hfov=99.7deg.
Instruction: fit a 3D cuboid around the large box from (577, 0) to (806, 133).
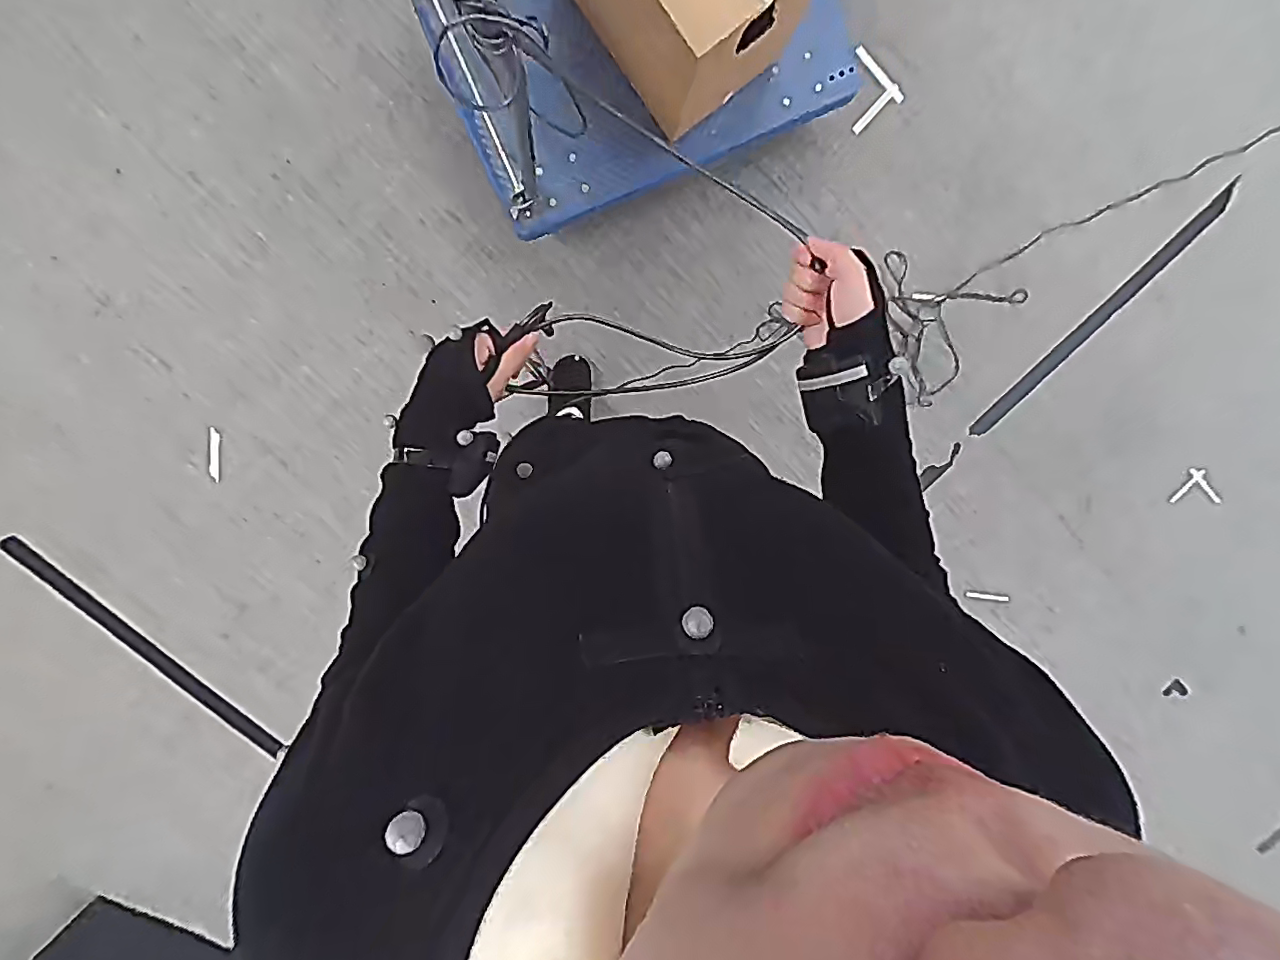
[{"bbox_3d":[0.080,-0.989,1.021,0.320,0.320,0.408,-38,102,2],"label":"large box"}]
